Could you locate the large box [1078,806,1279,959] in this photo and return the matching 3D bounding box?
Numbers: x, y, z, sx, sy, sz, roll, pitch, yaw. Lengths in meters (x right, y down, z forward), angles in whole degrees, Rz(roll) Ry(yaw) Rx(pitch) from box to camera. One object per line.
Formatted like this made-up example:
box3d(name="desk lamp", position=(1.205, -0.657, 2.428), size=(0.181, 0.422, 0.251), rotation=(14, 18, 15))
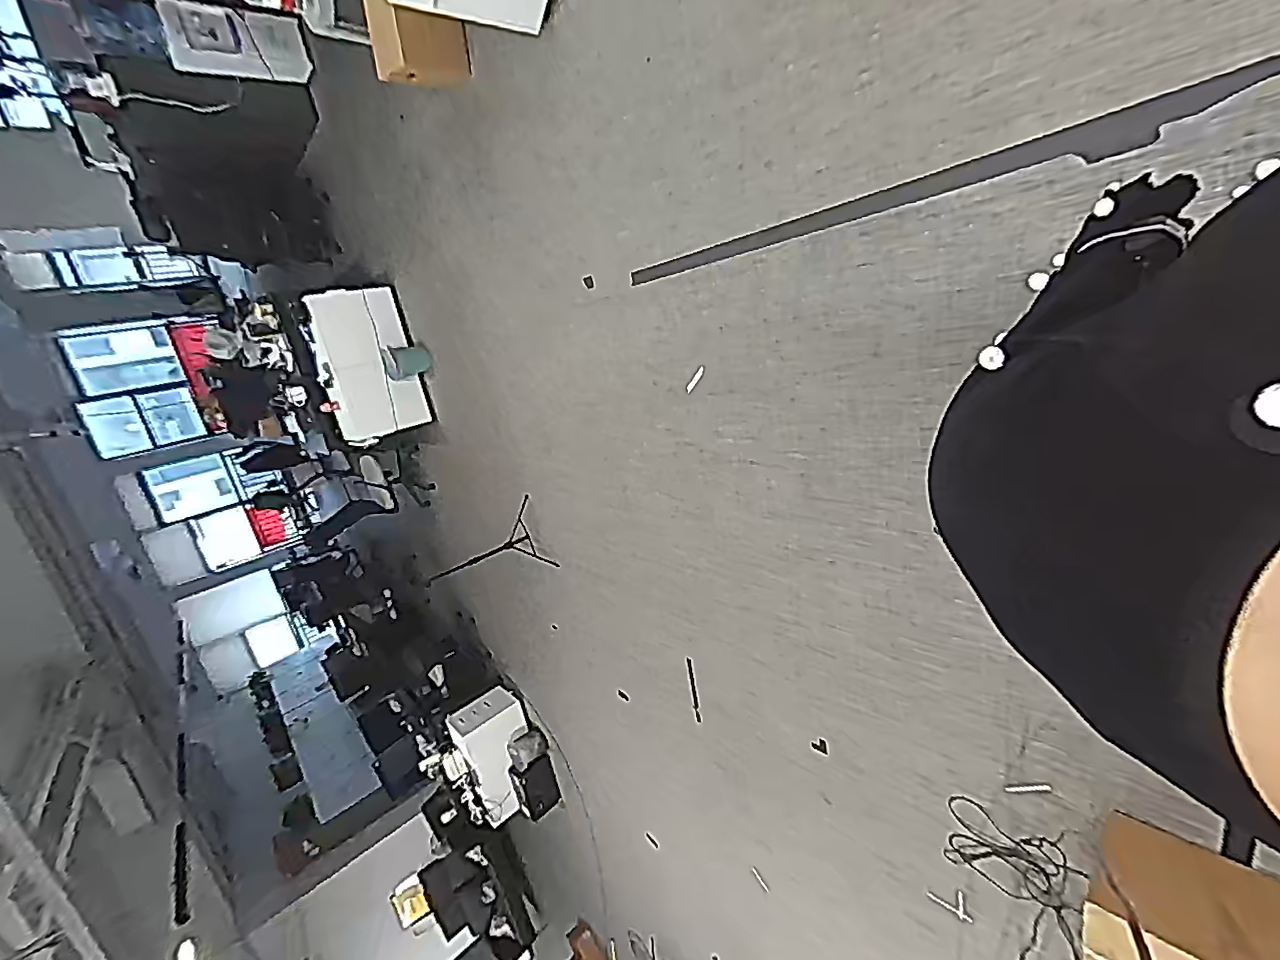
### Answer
box3d(name="large box", position=(1.312, 1.077, 1.257), size=(0.408, 0.320, 0.320), rotation=(9, 116, 49))
